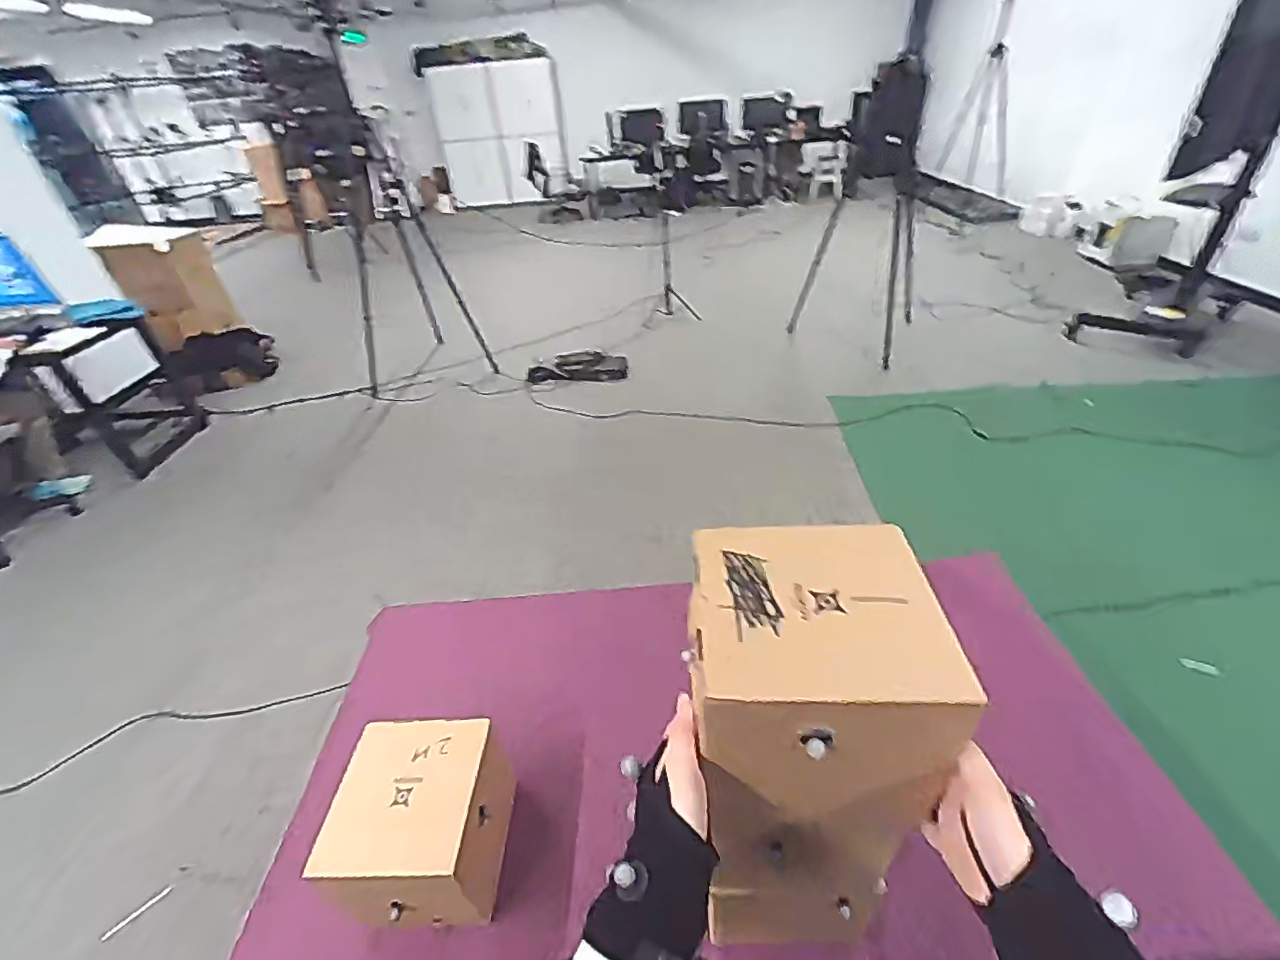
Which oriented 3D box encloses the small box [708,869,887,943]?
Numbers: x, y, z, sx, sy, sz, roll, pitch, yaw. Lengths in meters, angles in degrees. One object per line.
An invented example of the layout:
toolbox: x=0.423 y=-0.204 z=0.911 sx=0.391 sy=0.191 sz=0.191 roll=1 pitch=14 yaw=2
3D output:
small box: x=0.163 y=0.419 z=0.638 sx=0.179 sy=0.176 sz=0.168 roll=-4 pitch=36 yaw=3

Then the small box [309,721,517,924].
small box: x=-0.263 y=0.430 z=0.680 sx=0.168 sy=0.176 sz=0.179 roll=-3 pitch=37 yaw=3

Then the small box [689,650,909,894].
small box: x=0.142 y=0.288 z=0.541 sx=0.179 sy=0.176 sz=0.168 roll=-2 pitch=37 yaw=6

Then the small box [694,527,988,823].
small box: x=0.136 y=0.156 z=0.441 sx=0.179 sy=0.176 sz=0.168 roll=-1 pitch=36 yaw=5
